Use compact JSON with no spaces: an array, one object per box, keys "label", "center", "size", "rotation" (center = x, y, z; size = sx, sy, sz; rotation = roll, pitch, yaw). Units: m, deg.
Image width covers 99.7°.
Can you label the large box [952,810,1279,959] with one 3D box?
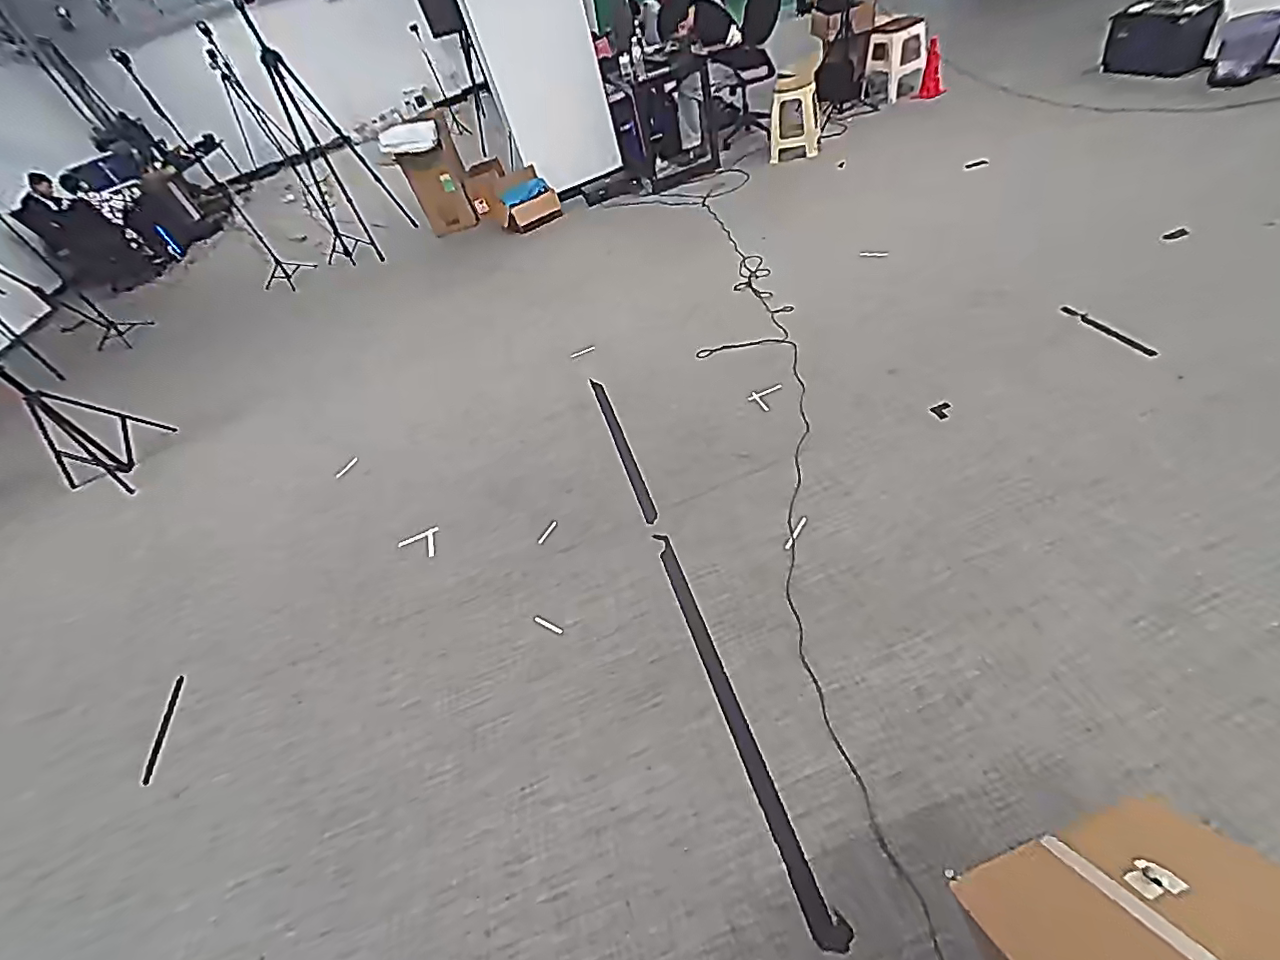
[{"label":"large box","center":[0.643,0.647,0.569],"size":[0.320,0.408,0.320],"rotation":[-22,81,-1]}]
